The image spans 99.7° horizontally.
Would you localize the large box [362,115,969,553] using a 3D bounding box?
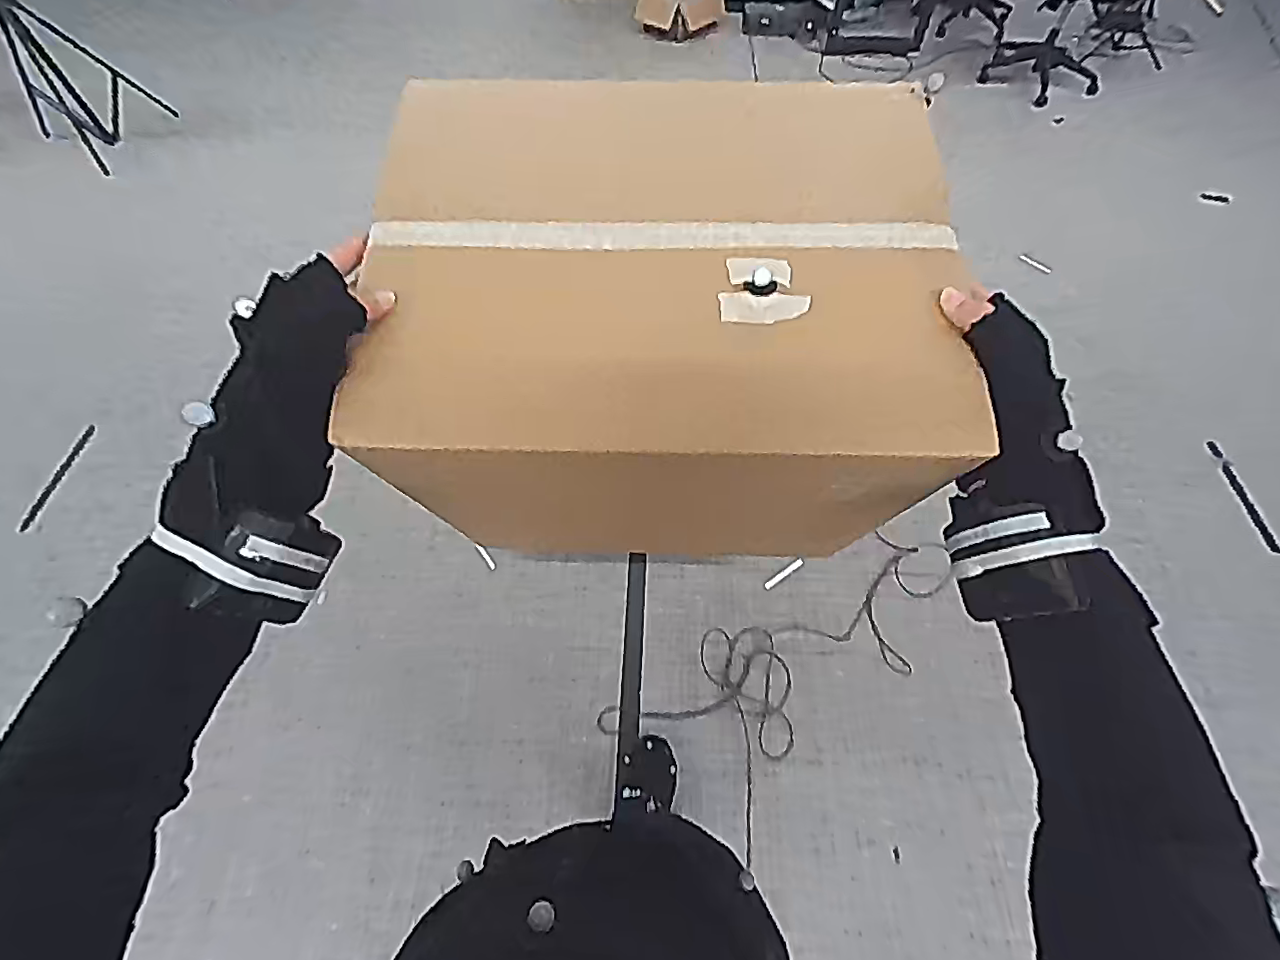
[{"bbox_3d":[0.017,-0.110,0.539,0.408,0.320,0.320,1,71,1],"label":"large box"}]
